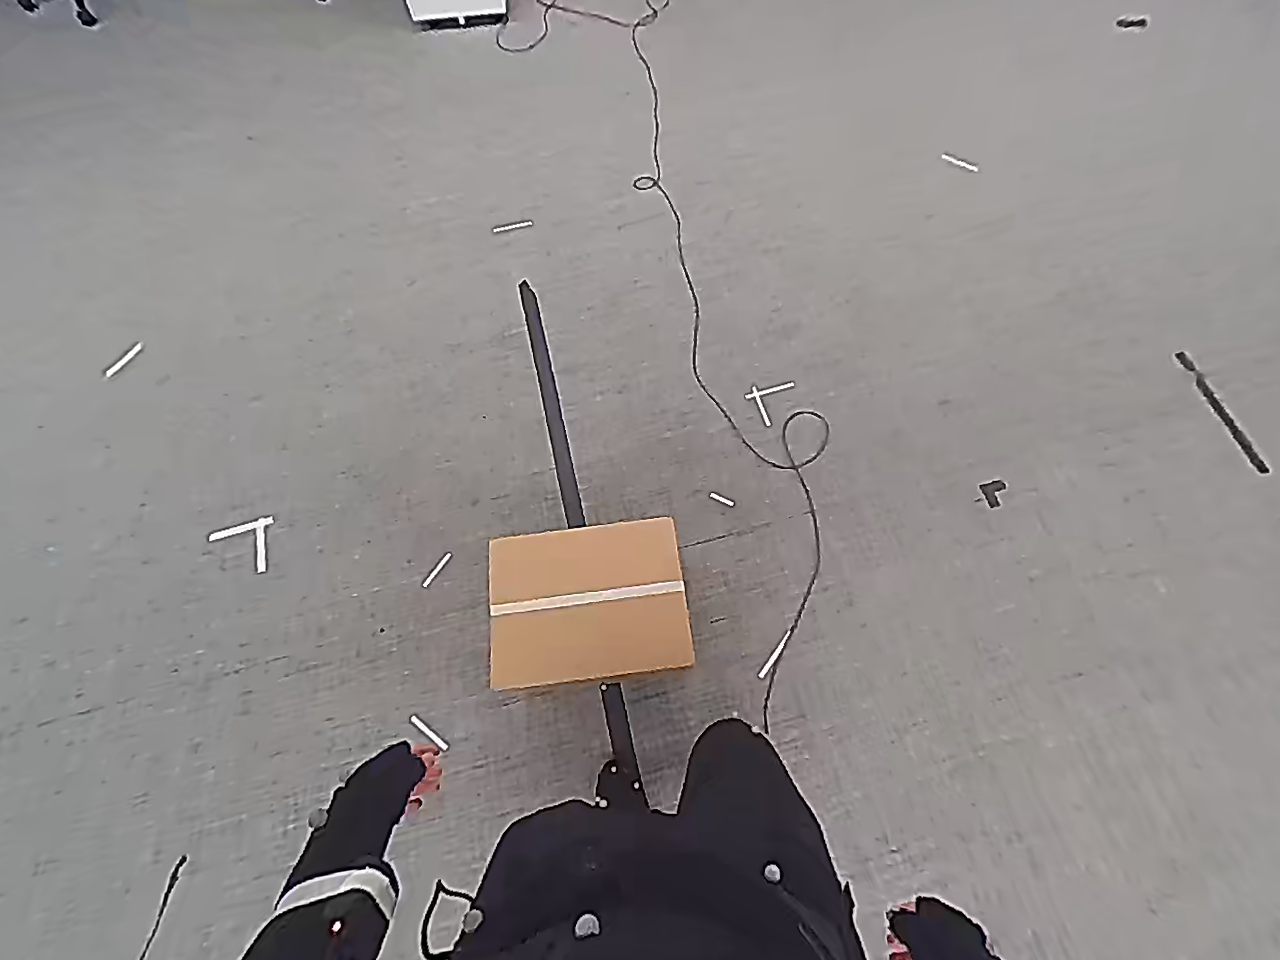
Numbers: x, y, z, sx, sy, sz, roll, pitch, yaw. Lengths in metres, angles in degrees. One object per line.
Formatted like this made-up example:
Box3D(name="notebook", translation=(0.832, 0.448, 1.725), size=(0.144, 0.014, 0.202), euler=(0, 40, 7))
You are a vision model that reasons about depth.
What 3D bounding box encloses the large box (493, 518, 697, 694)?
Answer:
Box3D(name="large box", translation=(-0.098, 0.304, 1.250), size=(0.408, 0.320, 0.320), euler=(-7, 69, -1))
